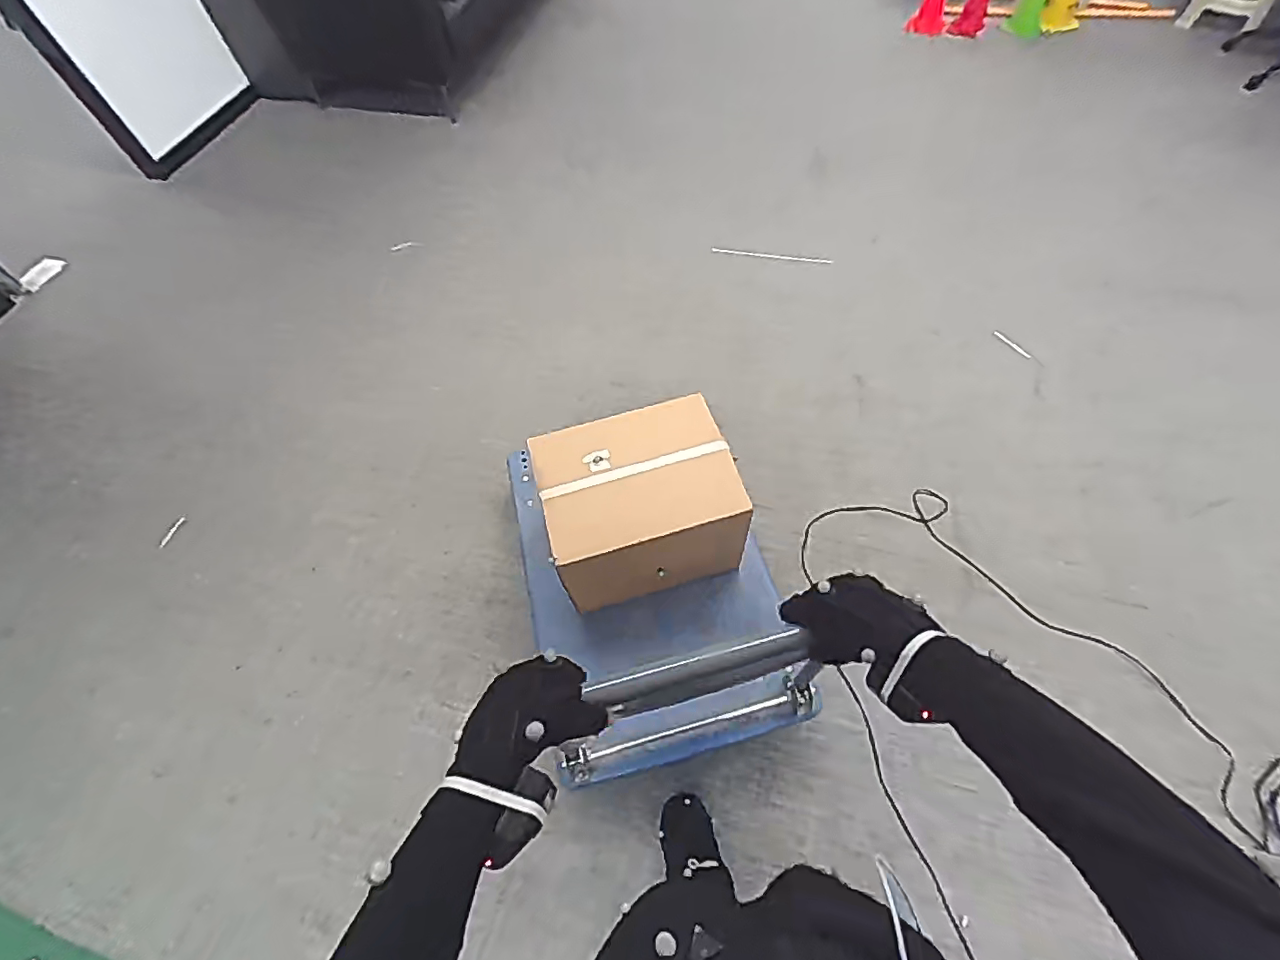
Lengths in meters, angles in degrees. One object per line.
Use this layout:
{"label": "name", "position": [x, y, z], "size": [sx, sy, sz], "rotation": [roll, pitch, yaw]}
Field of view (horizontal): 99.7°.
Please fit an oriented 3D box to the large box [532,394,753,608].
{"label": "large box", "position": [0.005, 0.059, 1.256], "size": [0.408, 0.320, 0.320], "rotation": [-17, 60, -5]}
